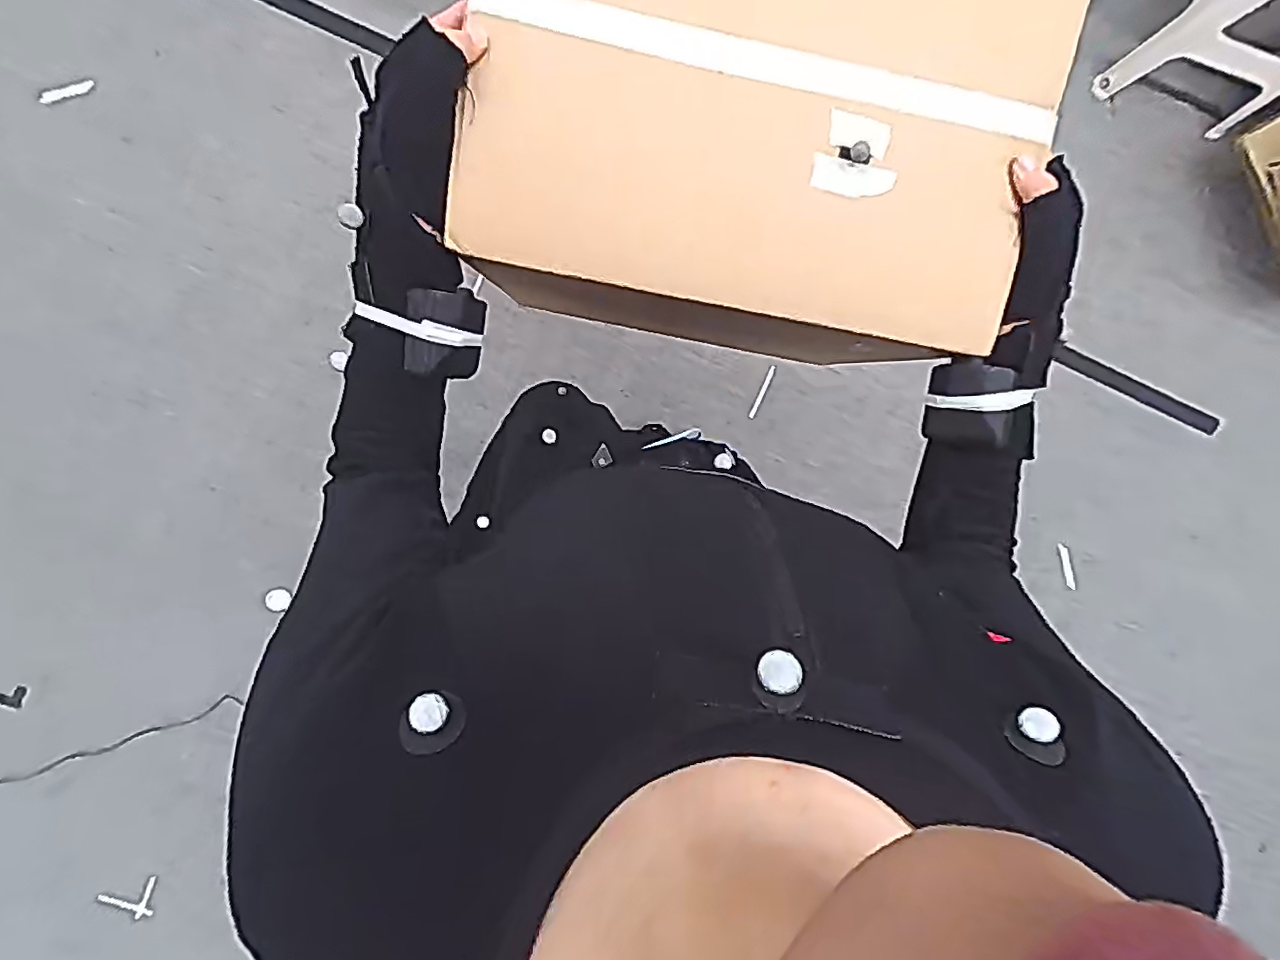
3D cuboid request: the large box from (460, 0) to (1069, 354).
[{"bbox_3d":[0.078,-0.313,0.519,0.408,0.320,0.320,9,101,-6],"label":"large box"}]
